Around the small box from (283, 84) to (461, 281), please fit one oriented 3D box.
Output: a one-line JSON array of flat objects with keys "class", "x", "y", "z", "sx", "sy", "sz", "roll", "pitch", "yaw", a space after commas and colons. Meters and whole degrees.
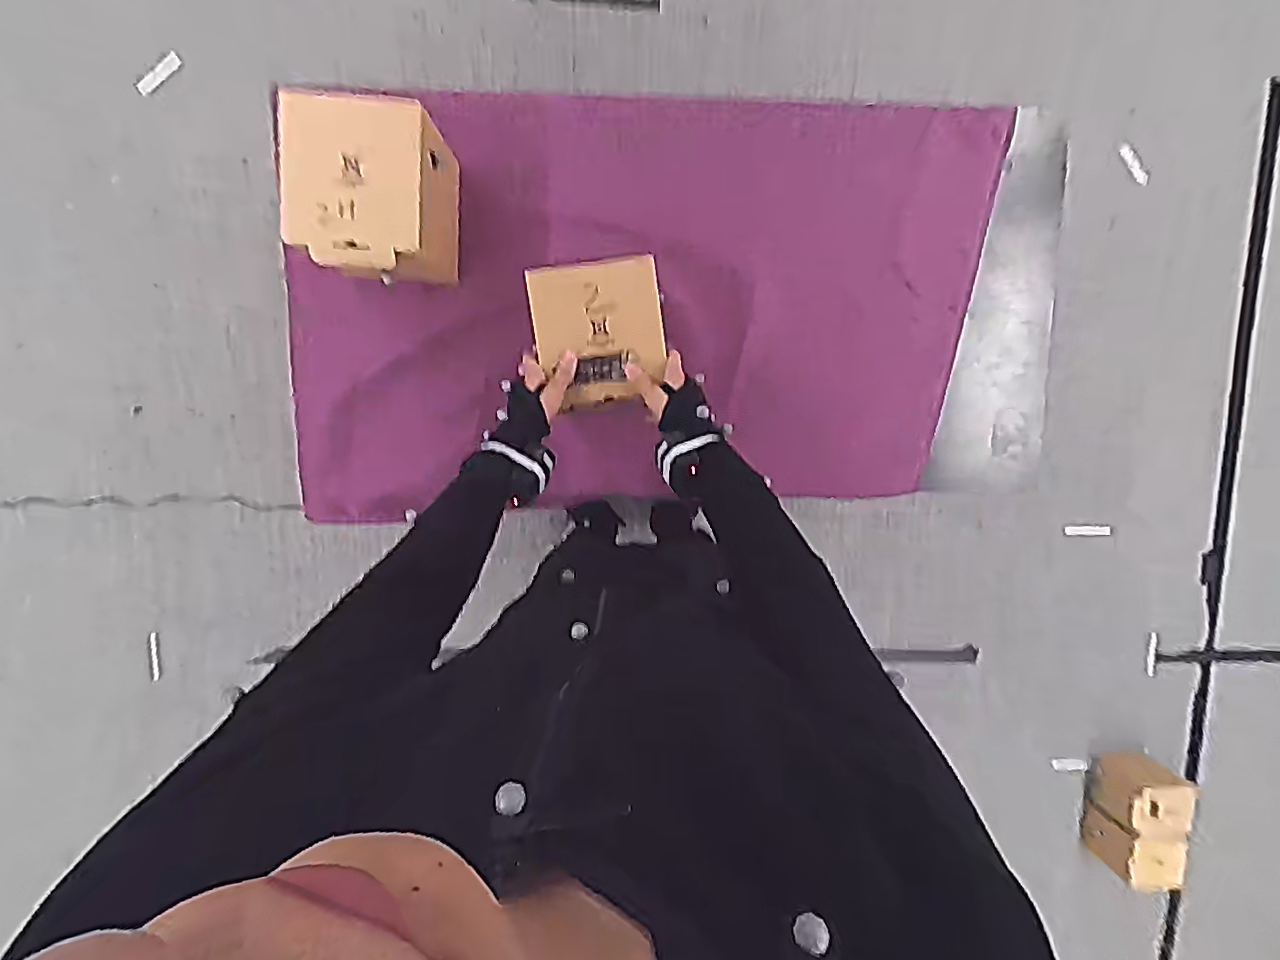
[{"class": "small box", "x": -0.346, "y": -0.382, "z": 0.726, "sx": 0.168, "sy": 0.176, "sz": 0.179, "roll": 3, "pitch": 98, "yaw": -3}]
